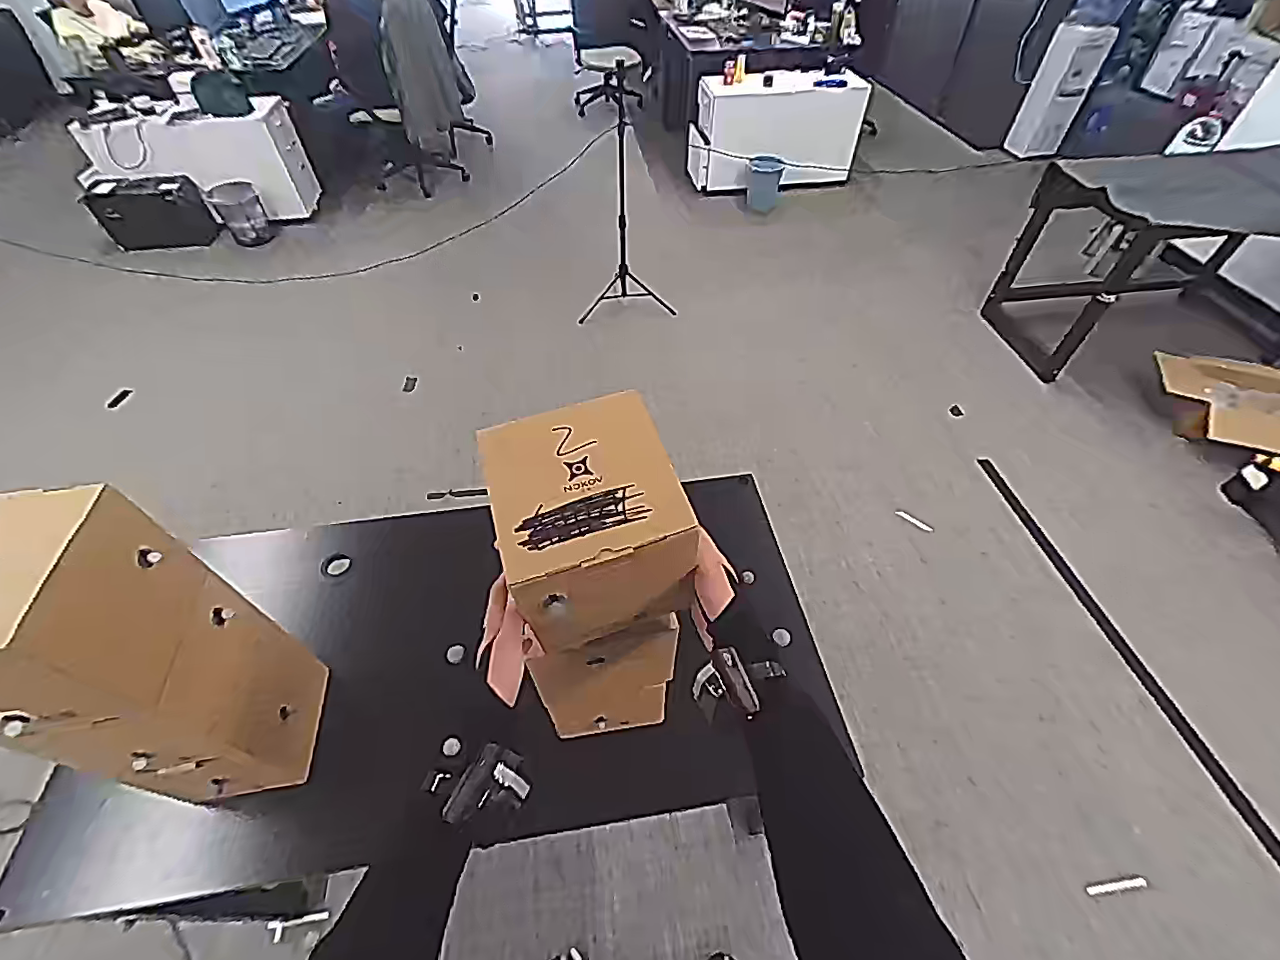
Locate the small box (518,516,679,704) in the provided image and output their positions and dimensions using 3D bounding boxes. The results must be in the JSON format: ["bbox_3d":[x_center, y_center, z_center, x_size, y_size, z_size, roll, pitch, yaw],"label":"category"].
[{"bbox_3d":[-0.054,0.172,0.705,0.179,0.176,0.168,-9,51,-8],"label":"small box"}]

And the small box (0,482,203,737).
[{"bbox_3d":[-0.584,0.128,0.531,0.168,0.176,0.179,-8,51,-5],"label":"small box"}]

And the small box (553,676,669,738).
[{"bbox_3d":[-0.054,0.274,0.835,0.168,0.176,0.179,-7,50,-5],"label":"small box"}]

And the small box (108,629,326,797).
[{"bbox_3d":[-0.584,0.341,0.780,0.168,0.176,0.179,-8,51,-7],"label":"small box"}]

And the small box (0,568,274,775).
[{"bbox_3d":[-0.584,0.233,0.655,0.168,0.176,0.179,-8,50,-5],"label":"small box"}]
